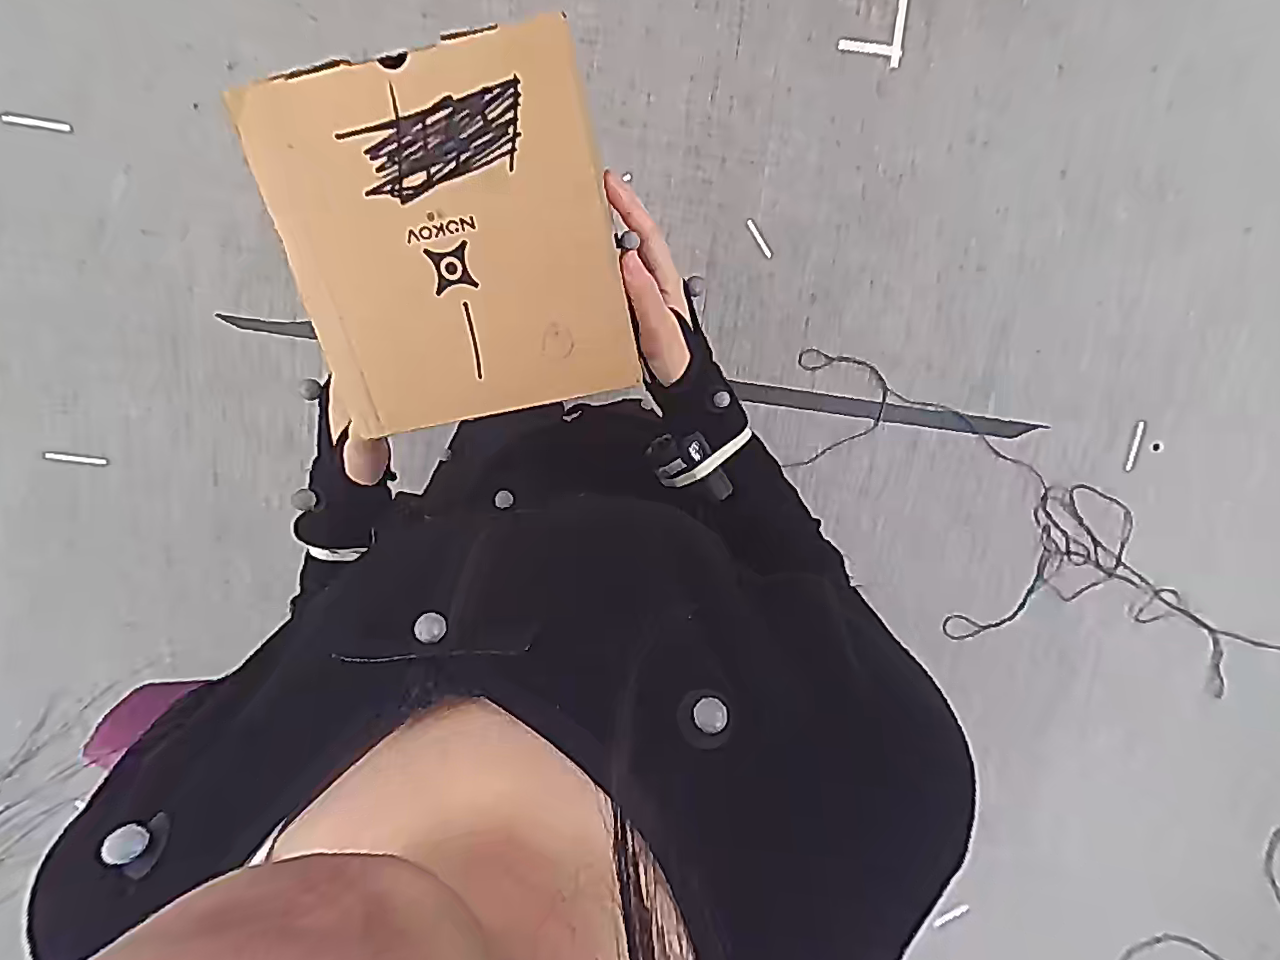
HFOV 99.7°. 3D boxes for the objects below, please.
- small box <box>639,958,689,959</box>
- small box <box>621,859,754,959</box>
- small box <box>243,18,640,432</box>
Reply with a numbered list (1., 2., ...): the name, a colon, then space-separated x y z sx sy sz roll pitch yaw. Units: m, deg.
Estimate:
1. small box: 0.066 0.721 0.647 0.168 0.176 0.179 1 101 -3
2. small box: 0.061 0.711 0.812 0.168 0.176 0.179 6 101 -4
3. small box: -0.097 -0.147 0.357 0.168 0.176 0.179 -10 110 4
